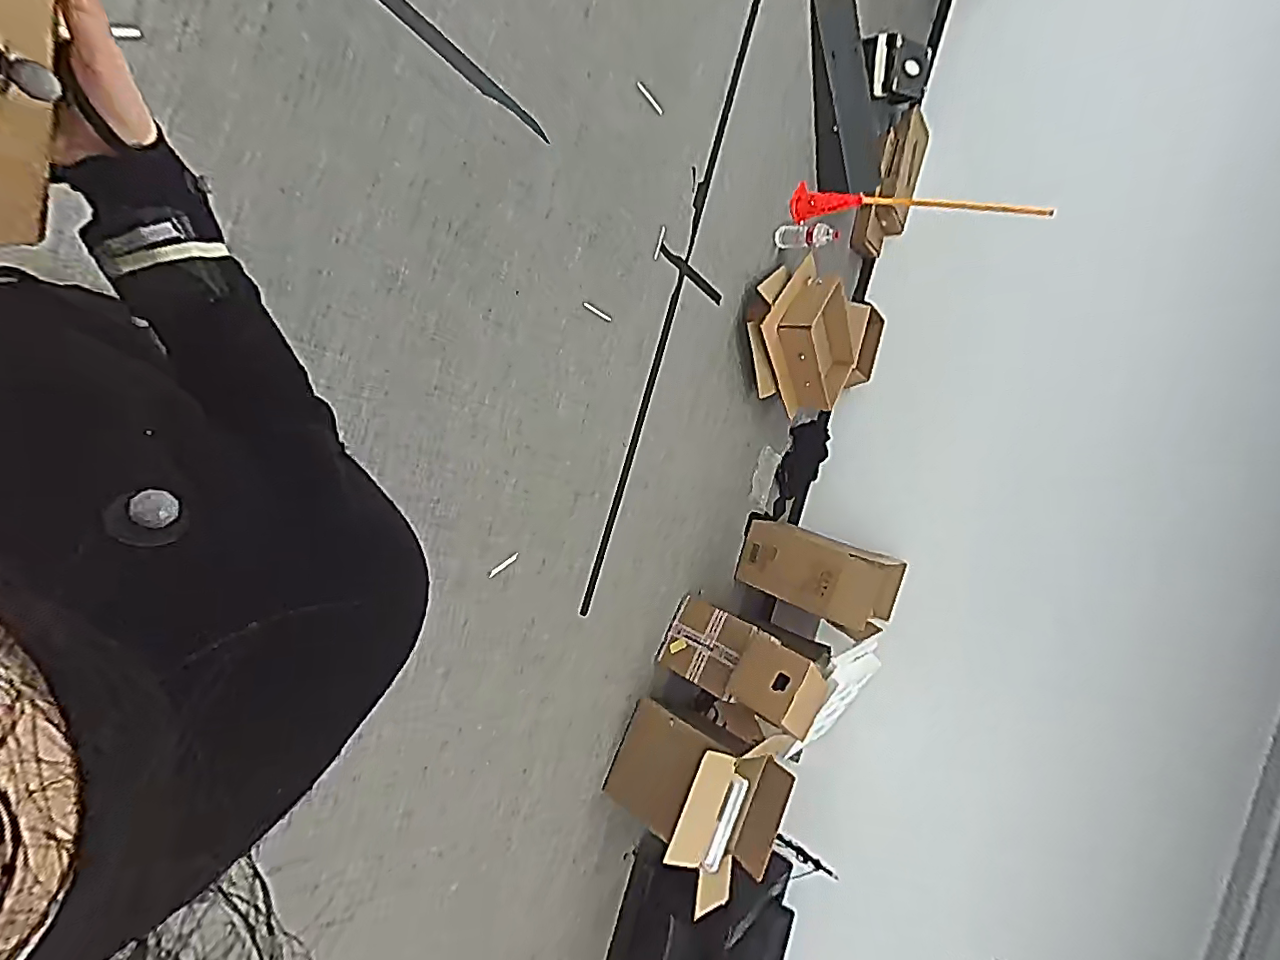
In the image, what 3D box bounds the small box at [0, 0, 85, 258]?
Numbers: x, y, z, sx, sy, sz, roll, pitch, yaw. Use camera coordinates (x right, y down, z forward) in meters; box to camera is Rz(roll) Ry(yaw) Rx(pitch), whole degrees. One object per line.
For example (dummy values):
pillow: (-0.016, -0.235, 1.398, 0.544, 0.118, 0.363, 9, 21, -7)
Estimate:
small box: (-0.362, -0.213, 0.224, 0.168, 0.176, 0.179, 7, 106, -42)
